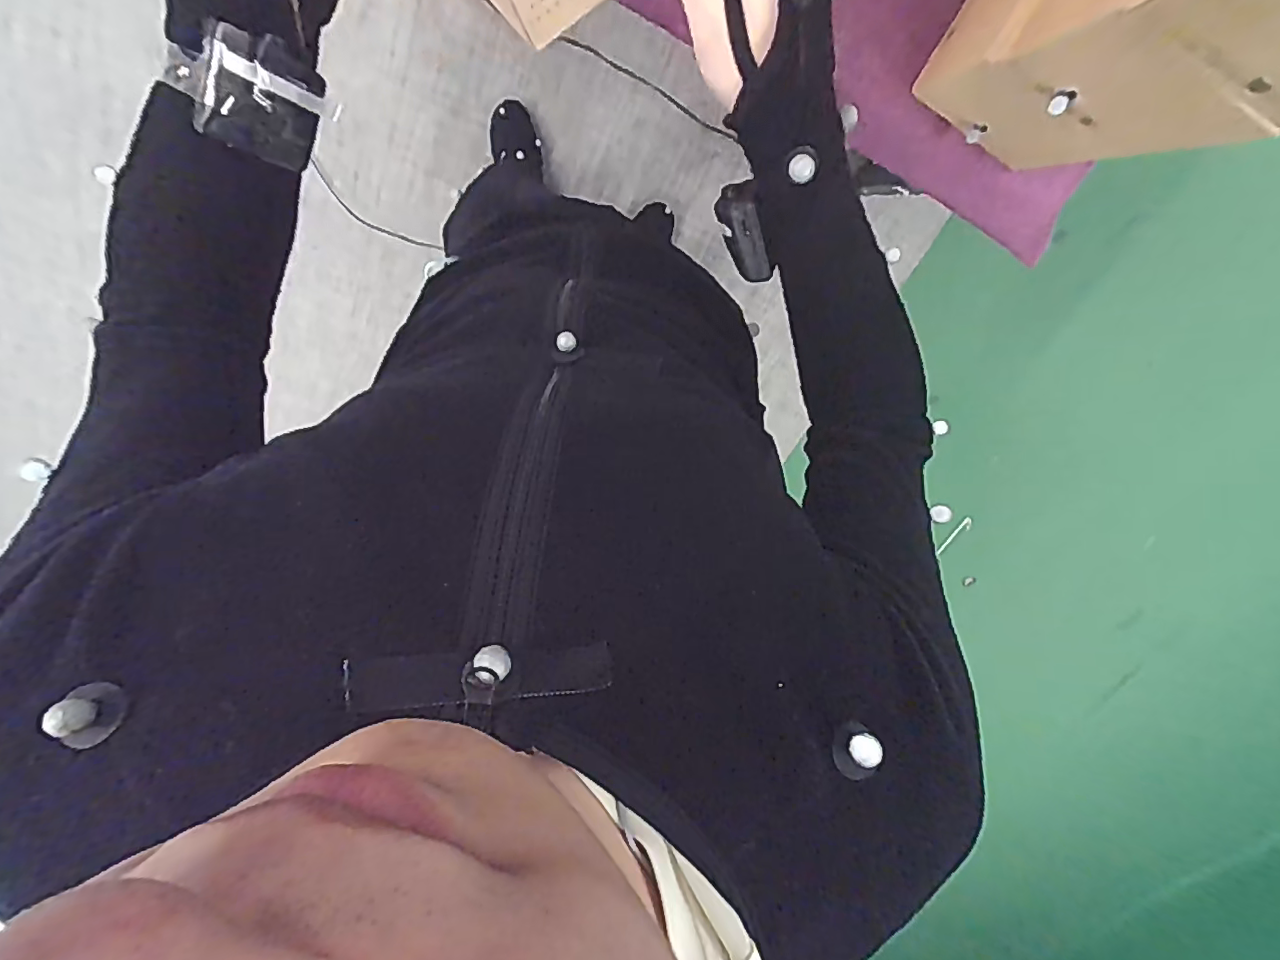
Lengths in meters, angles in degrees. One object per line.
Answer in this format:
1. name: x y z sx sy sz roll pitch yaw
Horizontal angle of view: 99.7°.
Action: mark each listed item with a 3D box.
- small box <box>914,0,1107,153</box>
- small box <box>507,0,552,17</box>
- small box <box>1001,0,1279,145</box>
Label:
1. small box: 0.439 -0.473 0.571 0.179 0.176 0.168 26 114 -12
2. small box: -0.052 -0.382 0.261 0.168 0.179 0.176 -33 152 6
3. small box: 0.442 -0.400 0.424 0.168 0.176 0.179 27 114 -11
